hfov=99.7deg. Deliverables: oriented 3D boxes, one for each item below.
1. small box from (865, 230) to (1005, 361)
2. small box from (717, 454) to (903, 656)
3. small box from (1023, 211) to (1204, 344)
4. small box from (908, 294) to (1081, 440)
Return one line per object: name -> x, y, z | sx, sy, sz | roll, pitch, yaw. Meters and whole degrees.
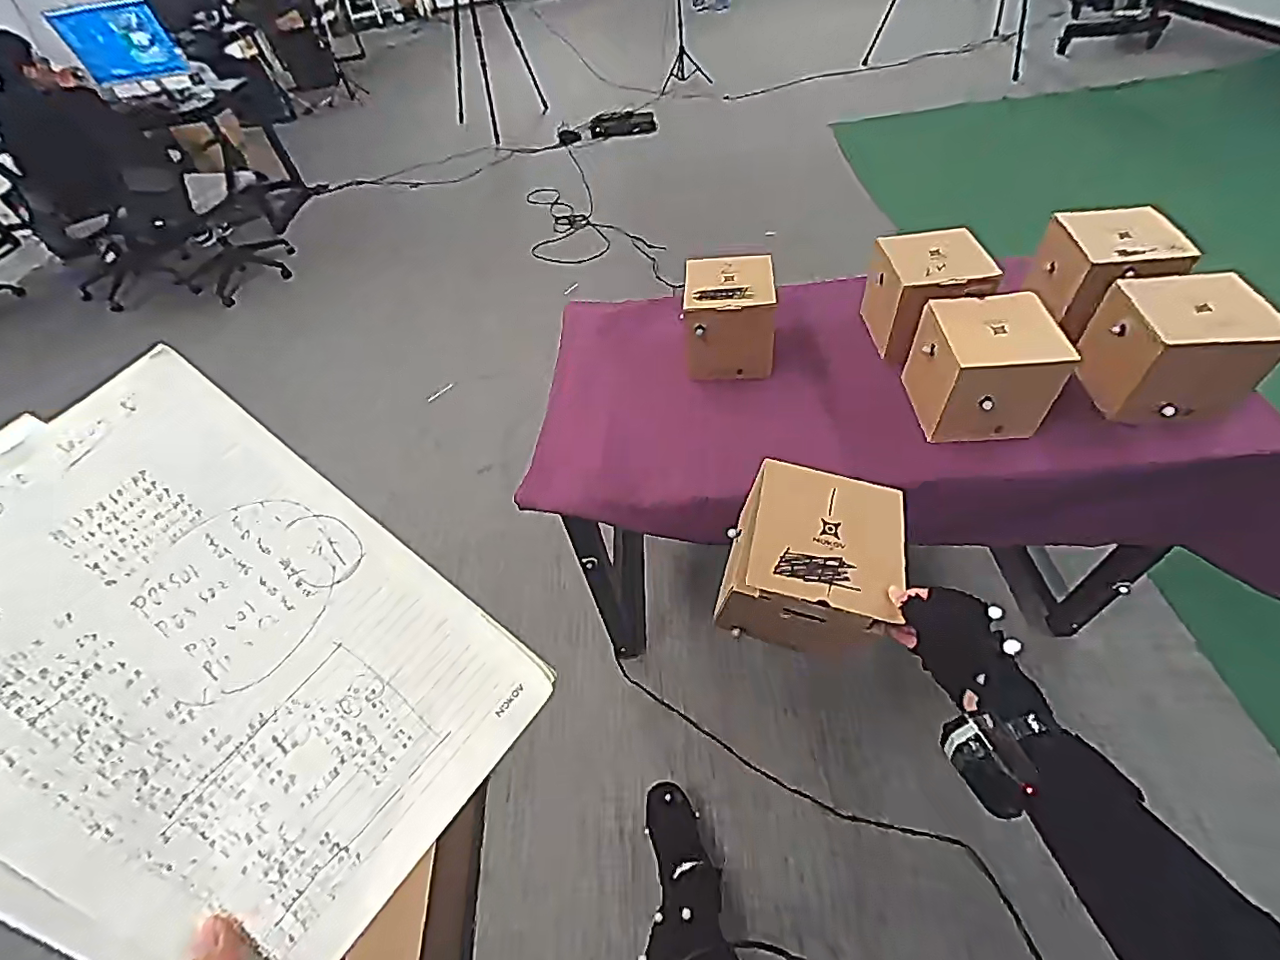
small box -> 0.548, -0.351, 1.036 | 0.168, 0.176, 0.179 | -4, 51, 6
small box -> 0.201, 0.101, 0.674 | 0.168, 0.176, 0.179 | 18, 62, 8
small box -> 0.859, -0.374, 1.007 | 0.168, 0.176, 0.179 | -1, 50, 9
small box -> 0.566, -0.179, 0.894 | 0.168, 0.176, 0.179 | -2, 51, 8
